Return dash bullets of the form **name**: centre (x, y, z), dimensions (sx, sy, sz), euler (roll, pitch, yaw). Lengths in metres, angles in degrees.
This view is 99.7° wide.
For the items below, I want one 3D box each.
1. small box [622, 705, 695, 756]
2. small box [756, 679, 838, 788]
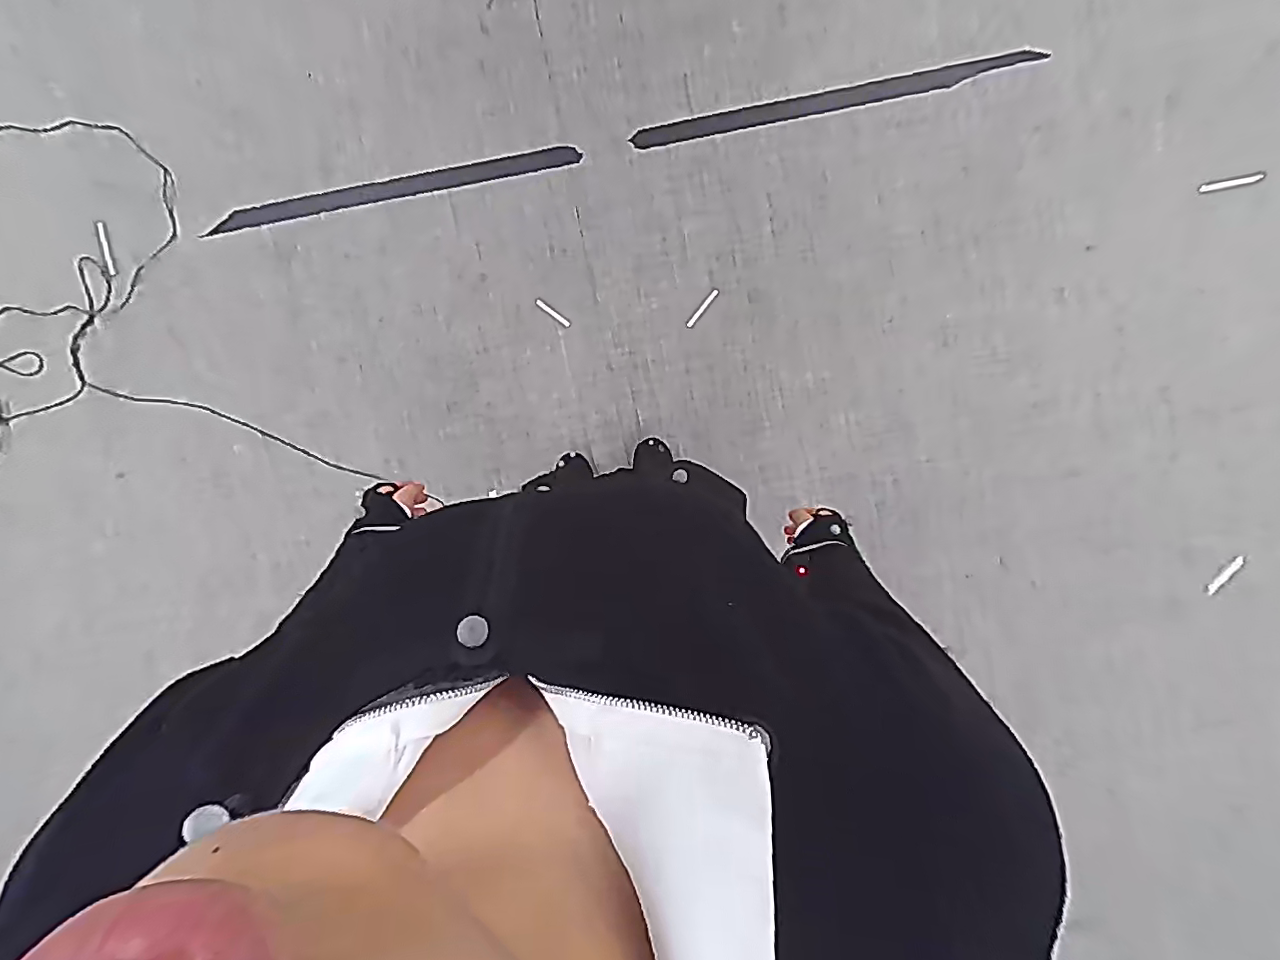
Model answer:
- **small box**: centre (0.052, 0.693, 1.370), dimensions (0.168, 0.176, 0.179), euler (-13, 95, 2)
- **small box**: centre (0.395, 0.626, 1.348), dimensions (0.168, 0.176, 0.179), euler (-11, 96, 3)
